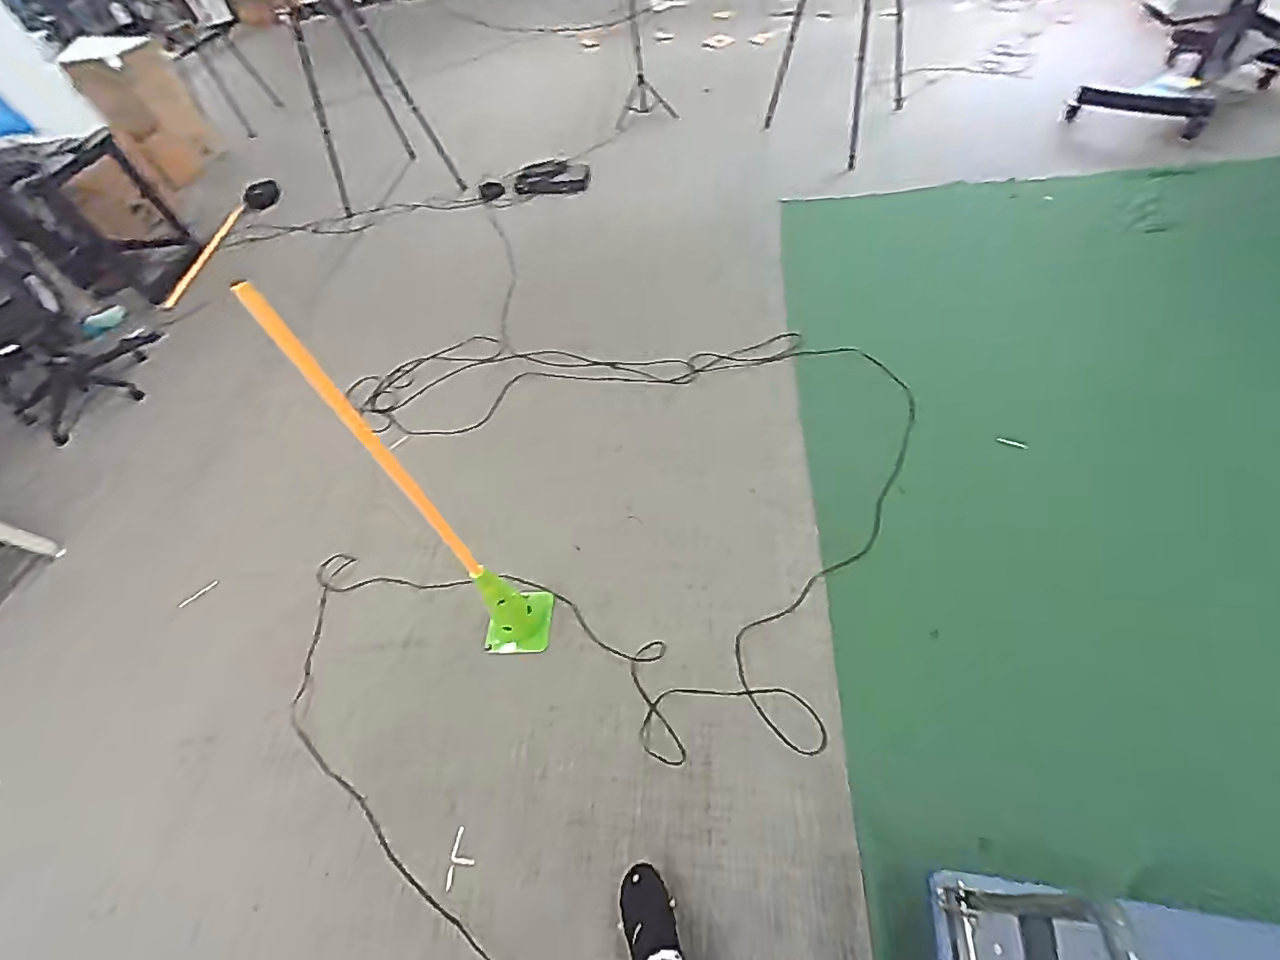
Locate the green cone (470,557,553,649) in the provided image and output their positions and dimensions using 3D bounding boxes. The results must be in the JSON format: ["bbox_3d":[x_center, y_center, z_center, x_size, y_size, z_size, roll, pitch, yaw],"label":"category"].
[{"bbox_3d":[-0.408,0.335,1.589,0.200,0.368,0.202,-4,52,7],"label":"green cone"}]
